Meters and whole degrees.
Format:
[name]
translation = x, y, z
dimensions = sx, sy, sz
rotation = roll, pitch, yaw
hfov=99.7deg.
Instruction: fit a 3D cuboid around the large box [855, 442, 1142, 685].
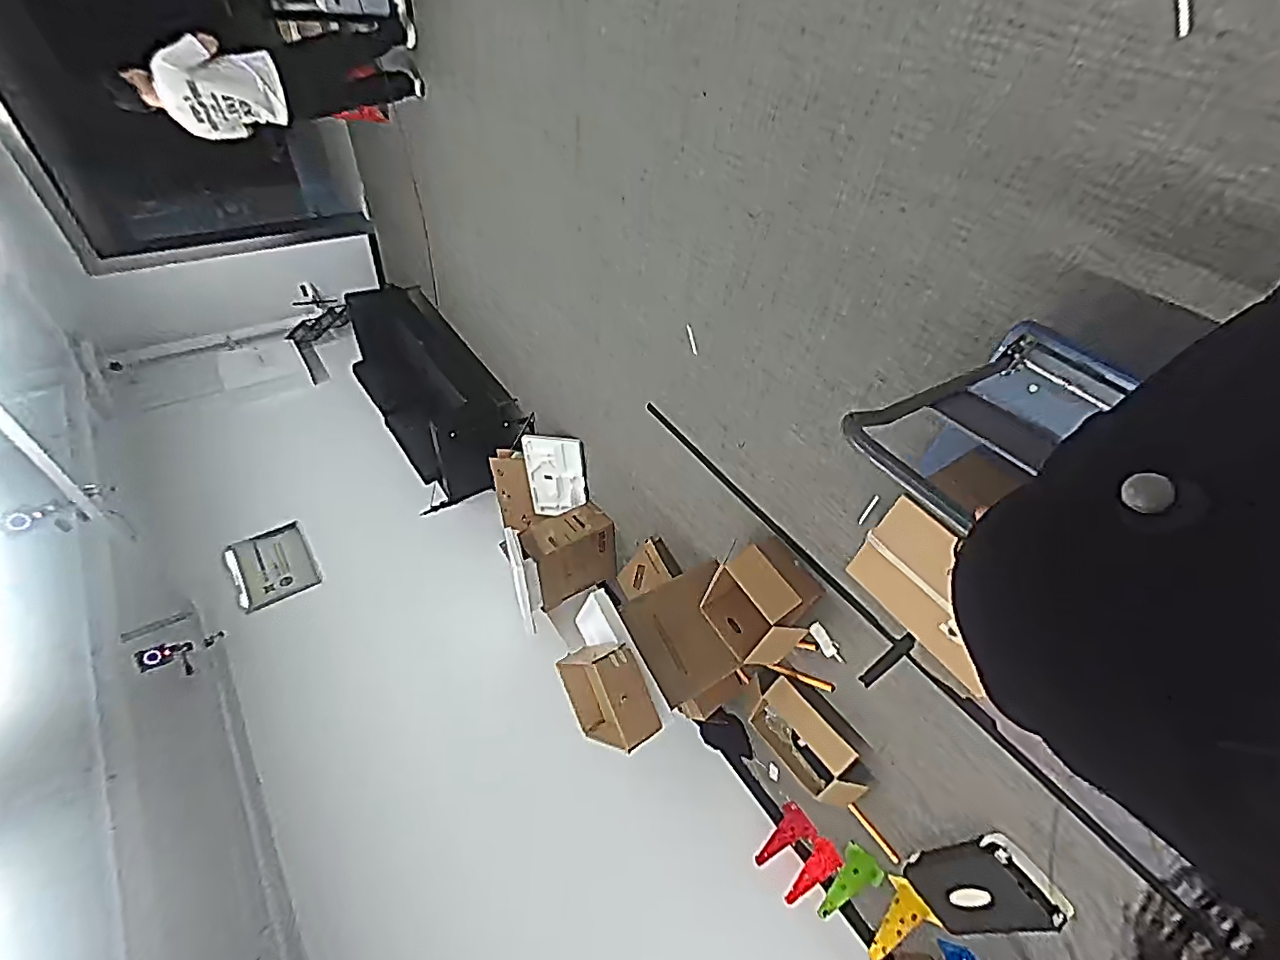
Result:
[large box]
translation = 0.810, 0.178, 1.270
dimensions = 0.408, 0.320, 0.320
rotation = 47, 147, 29
